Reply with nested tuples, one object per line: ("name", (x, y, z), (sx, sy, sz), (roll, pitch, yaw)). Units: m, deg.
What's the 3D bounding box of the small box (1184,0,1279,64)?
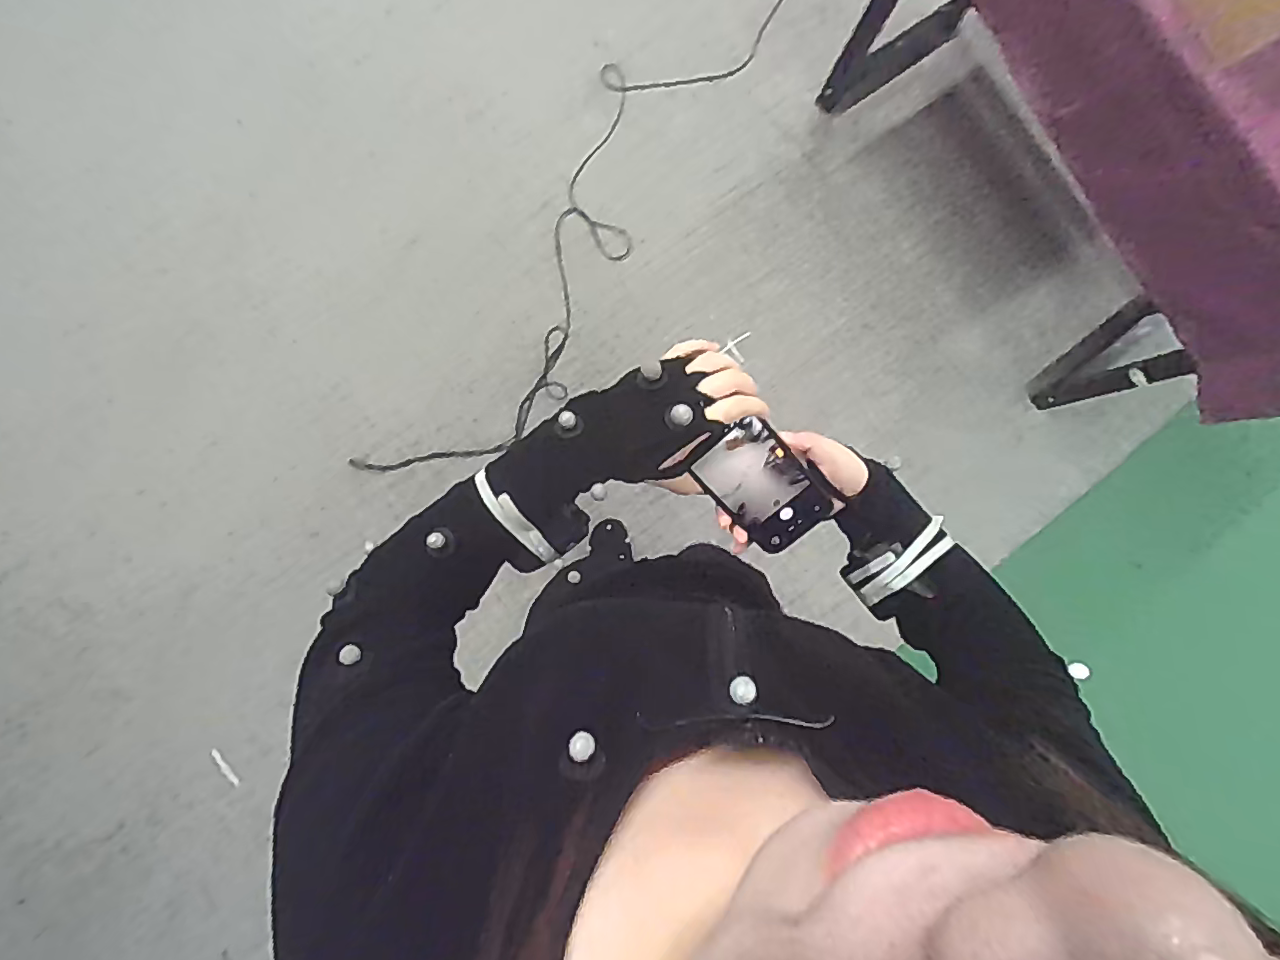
("small box", (1.033, -0.827, 0.860), (0.168, 0.176, 0.179), (-30, 90, -7))
